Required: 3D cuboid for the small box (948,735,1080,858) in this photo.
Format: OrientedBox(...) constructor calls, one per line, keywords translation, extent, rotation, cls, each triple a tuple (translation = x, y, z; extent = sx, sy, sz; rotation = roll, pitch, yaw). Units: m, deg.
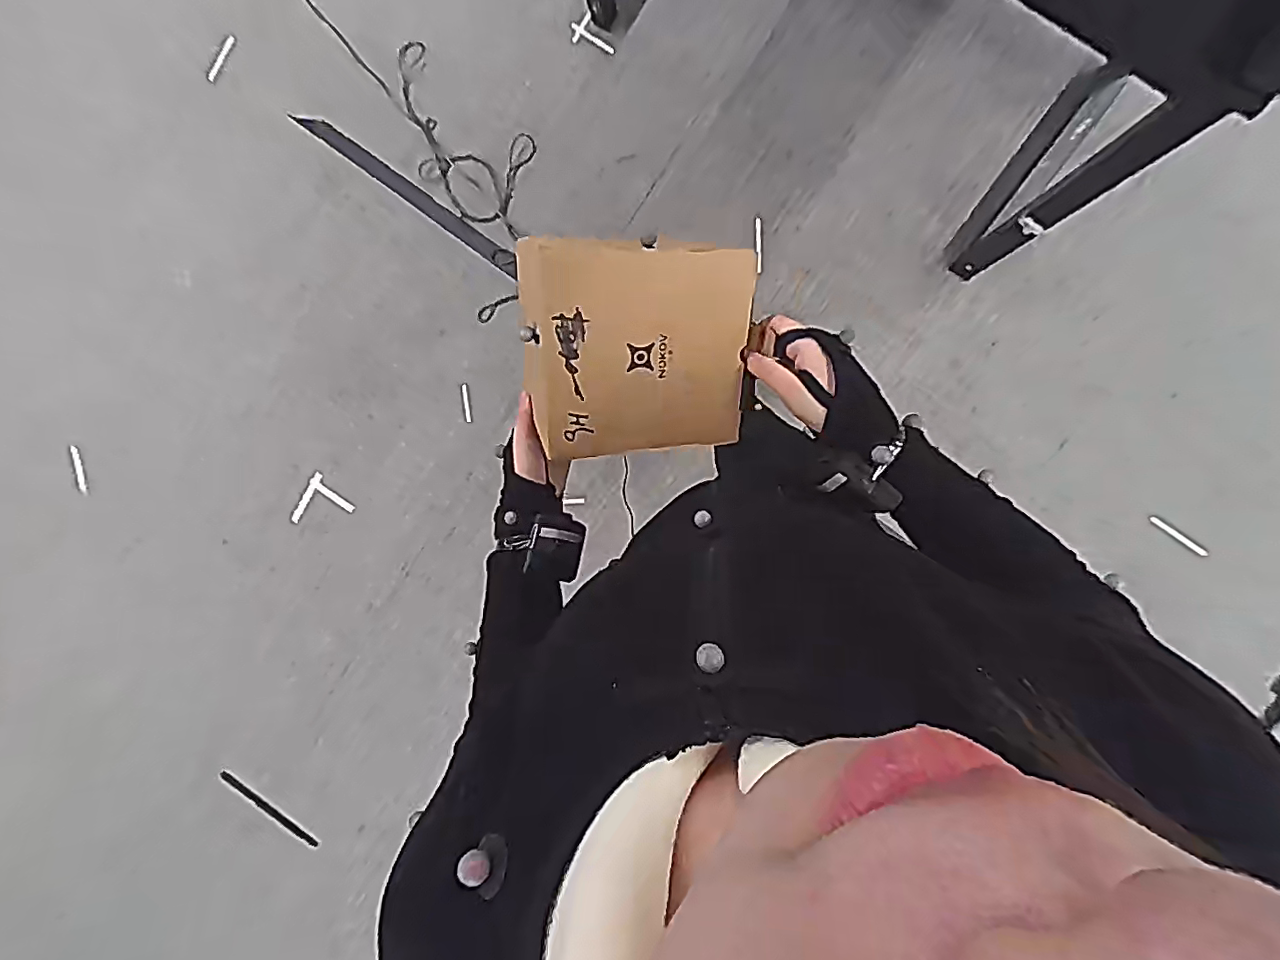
OrientedBox(translation=(0.917, 0.773, 1.347), extent=(0.179, 0.176, 0.168), rotation=(41, 99, 2), cls="small box")
